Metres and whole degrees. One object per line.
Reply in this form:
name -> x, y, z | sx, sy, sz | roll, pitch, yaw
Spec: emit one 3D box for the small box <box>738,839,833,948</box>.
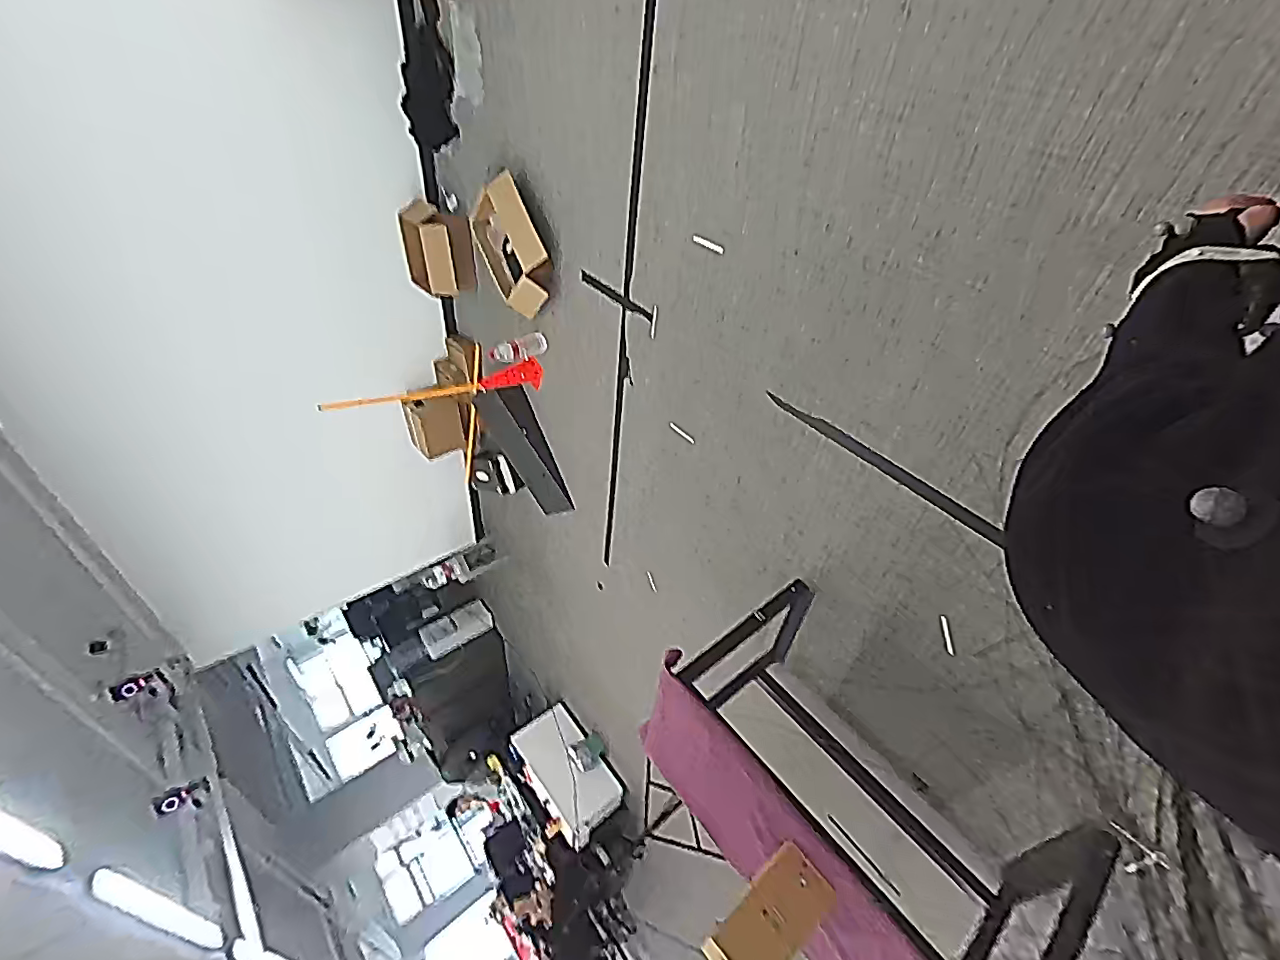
small box -> 0.407, 1.151, 1.510 | 0.168, 0.176, 0.179 | 42, 142, 30
